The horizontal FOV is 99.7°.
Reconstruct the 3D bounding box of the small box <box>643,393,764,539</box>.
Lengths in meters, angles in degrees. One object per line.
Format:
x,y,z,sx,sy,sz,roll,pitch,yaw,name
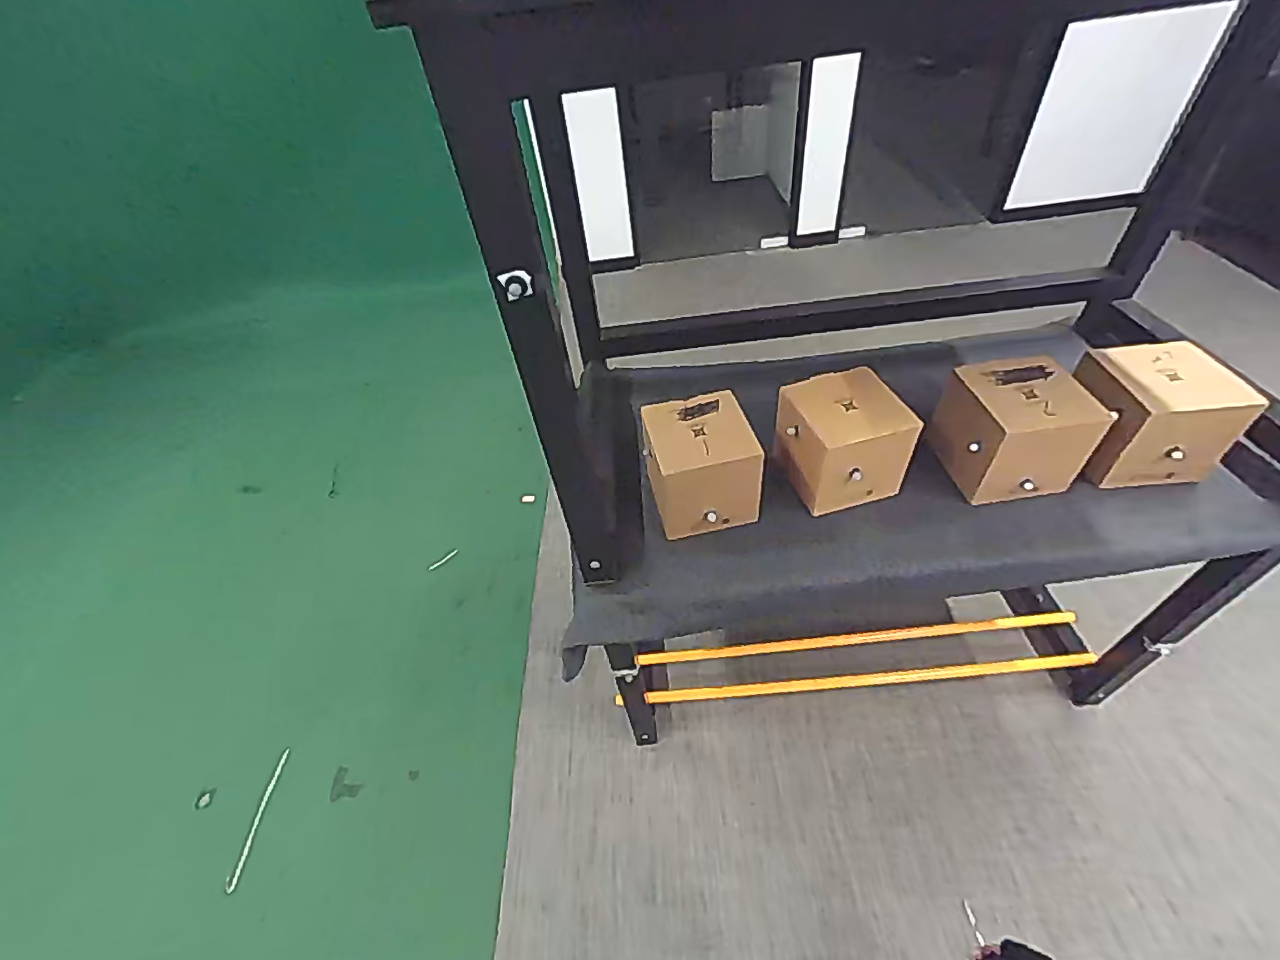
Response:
0.106,-0.024,0.948,0.168,0.176,0.179,-12,46,-3,small box
